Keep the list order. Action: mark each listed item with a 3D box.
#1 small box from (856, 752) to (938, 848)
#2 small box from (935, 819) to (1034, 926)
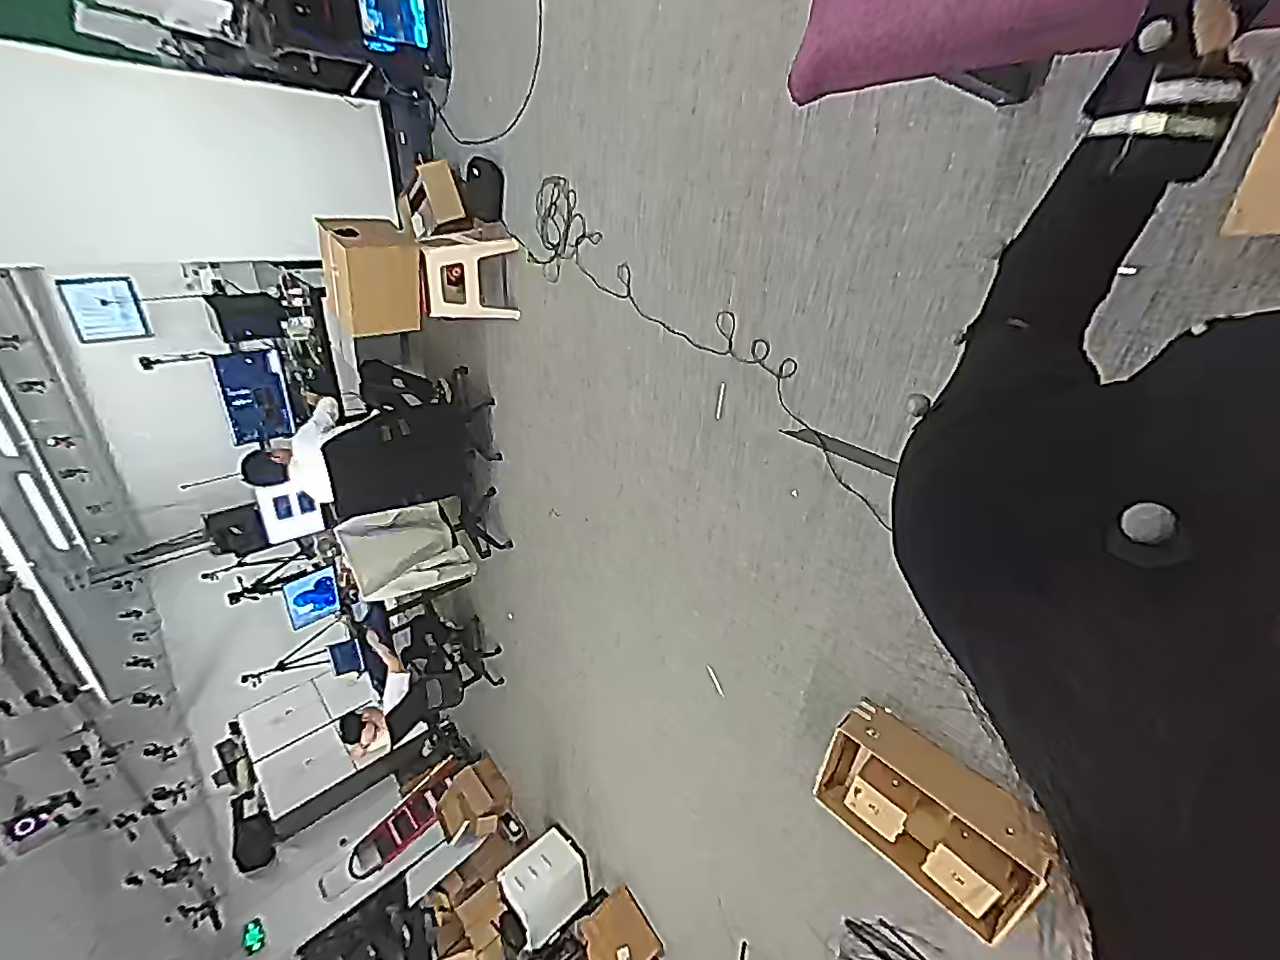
[{"bbox_3d":[0.849,1.044,1.779,0.179,0.176,0.168,29,126,37],"label":"small box"},{"bbox_3d":[1.029,1.158,1.616,0.179,0.176,0.168,33,130,38],"label":"small box"}]
